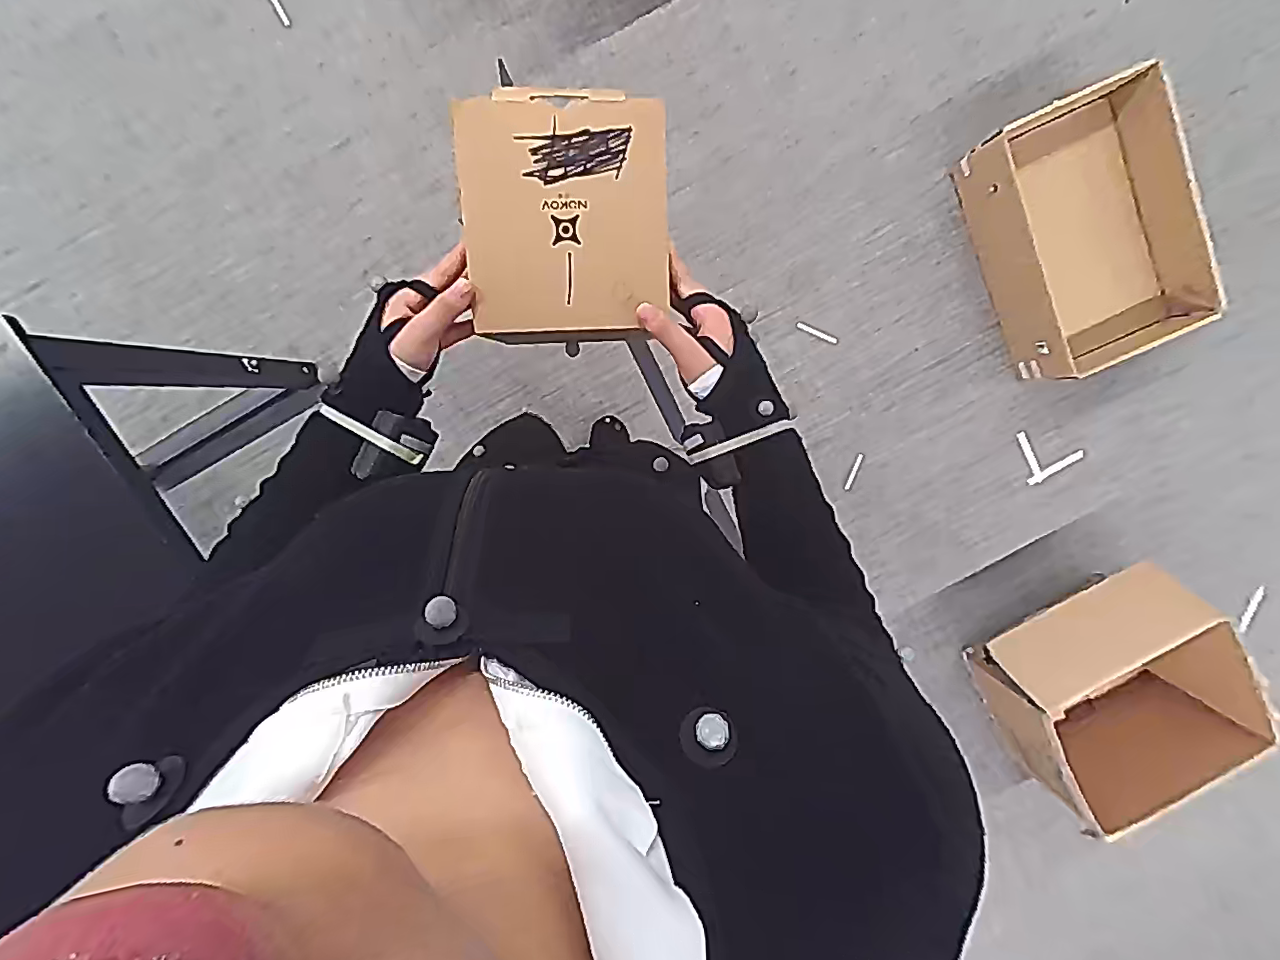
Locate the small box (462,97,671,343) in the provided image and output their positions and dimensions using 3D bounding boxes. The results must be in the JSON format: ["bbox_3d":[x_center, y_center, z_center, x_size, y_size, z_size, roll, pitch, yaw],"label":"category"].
[{"bbox_3d":[-0.064,-0.230,0.520,0.168,0.176,0.179,-3,101,-4],"label":"small box"}]
